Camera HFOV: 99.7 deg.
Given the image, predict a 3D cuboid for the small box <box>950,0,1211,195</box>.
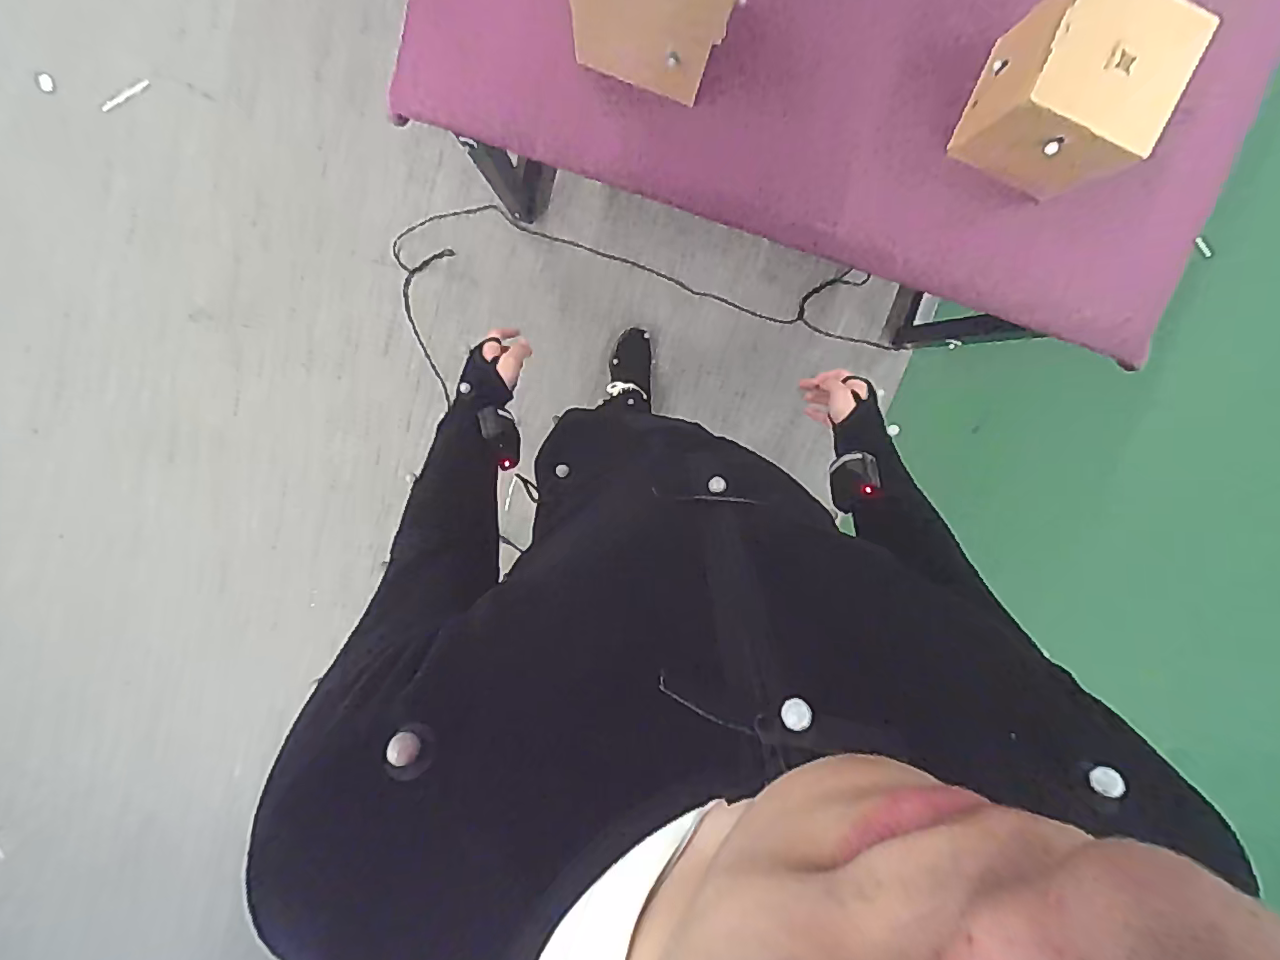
[{"bbox_3d":[0.572,-0.513,0.729,0.179,0.176,0.168,22,100,-6],"label":"small box"}]
